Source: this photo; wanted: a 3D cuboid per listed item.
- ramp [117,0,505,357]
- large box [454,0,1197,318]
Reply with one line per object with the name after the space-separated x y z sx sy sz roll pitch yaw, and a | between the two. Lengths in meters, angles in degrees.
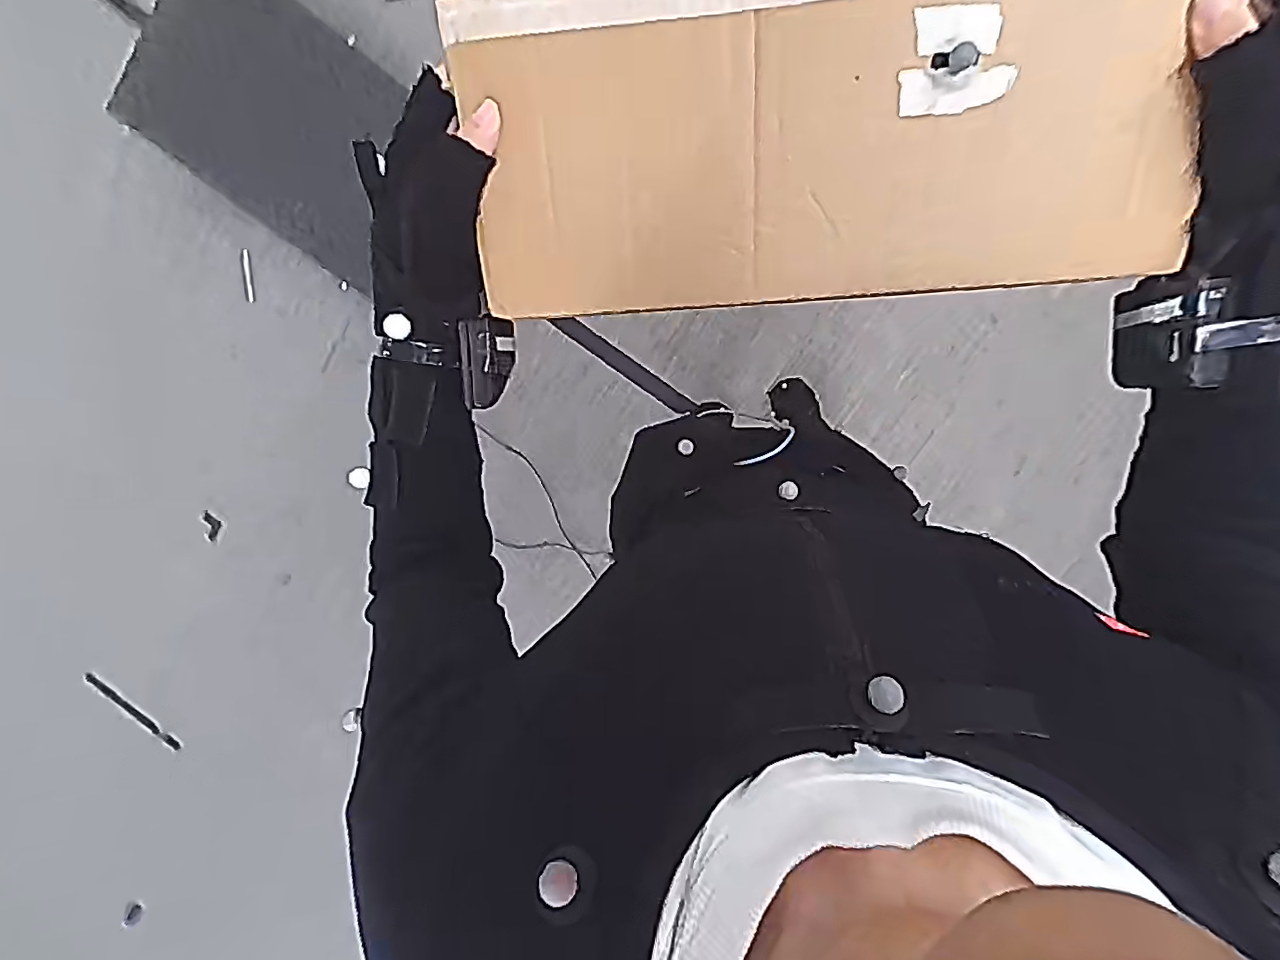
-0.755 -0.812 1.379 0.991 0.206 0.509 36 99 1 | ramp
0.099 -0.315 0.433 0.408 0.320 0.320 -4 109 5 | large box
